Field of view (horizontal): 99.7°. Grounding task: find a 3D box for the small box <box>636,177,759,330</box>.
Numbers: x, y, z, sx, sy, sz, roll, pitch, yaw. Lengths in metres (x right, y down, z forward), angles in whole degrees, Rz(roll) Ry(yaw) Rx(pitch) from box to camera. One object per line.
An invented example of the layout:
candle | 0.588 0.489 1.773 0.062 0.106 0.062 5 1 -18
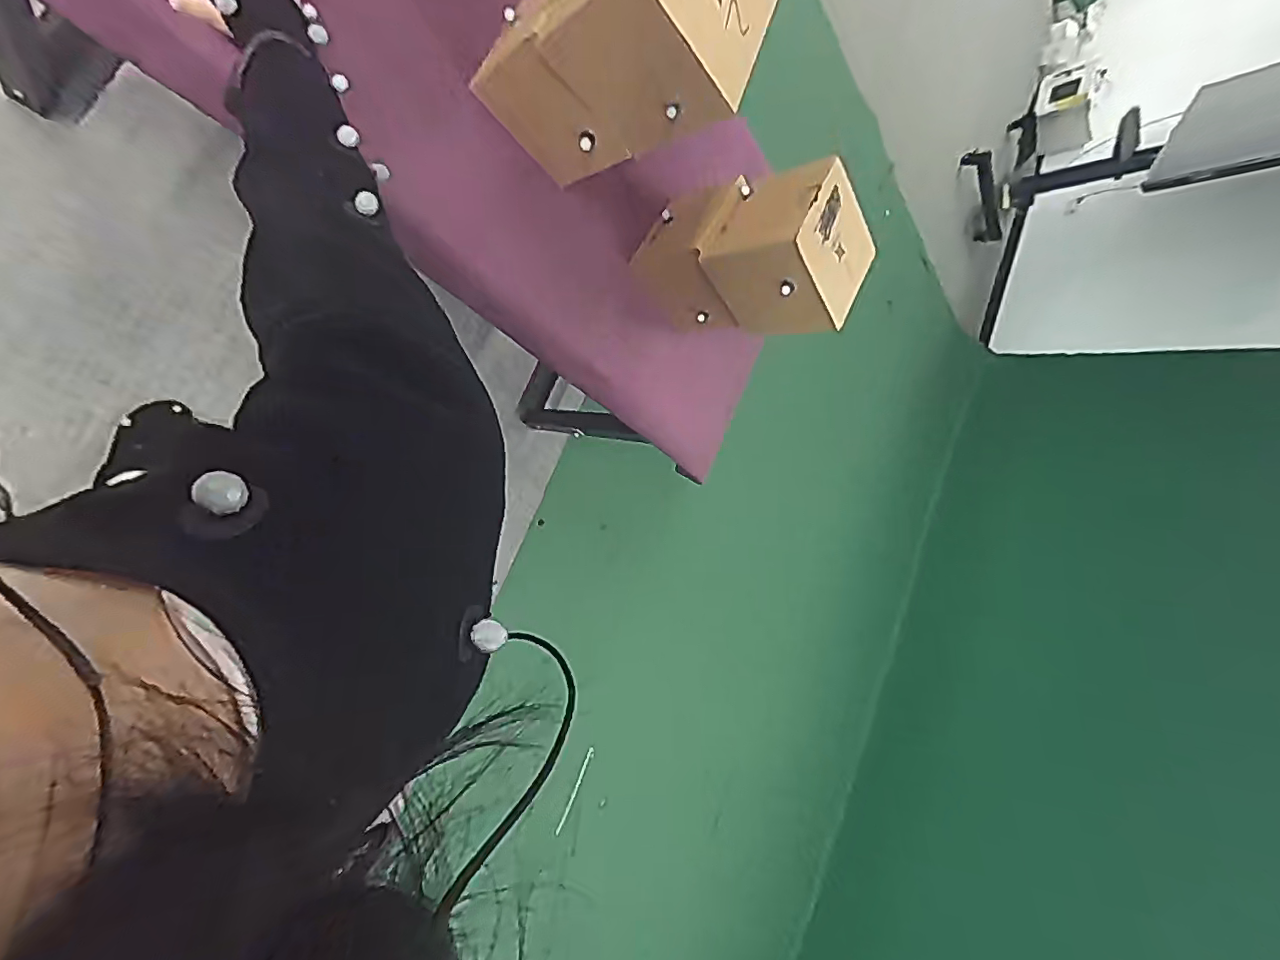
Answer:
small box | 0.128 -0.380 0.941 0.179 0.176 0.168 43 69 -38

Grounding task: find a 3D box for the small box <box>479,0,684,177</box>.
small box | -0.078 -0.541 0.723 0.179 0.176 0.168 35 74 -40

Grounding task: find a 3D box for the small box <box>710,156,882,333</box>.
small box | 0.236 -0.341 0.824 0.179 0.176 0.168 42 69 -39
